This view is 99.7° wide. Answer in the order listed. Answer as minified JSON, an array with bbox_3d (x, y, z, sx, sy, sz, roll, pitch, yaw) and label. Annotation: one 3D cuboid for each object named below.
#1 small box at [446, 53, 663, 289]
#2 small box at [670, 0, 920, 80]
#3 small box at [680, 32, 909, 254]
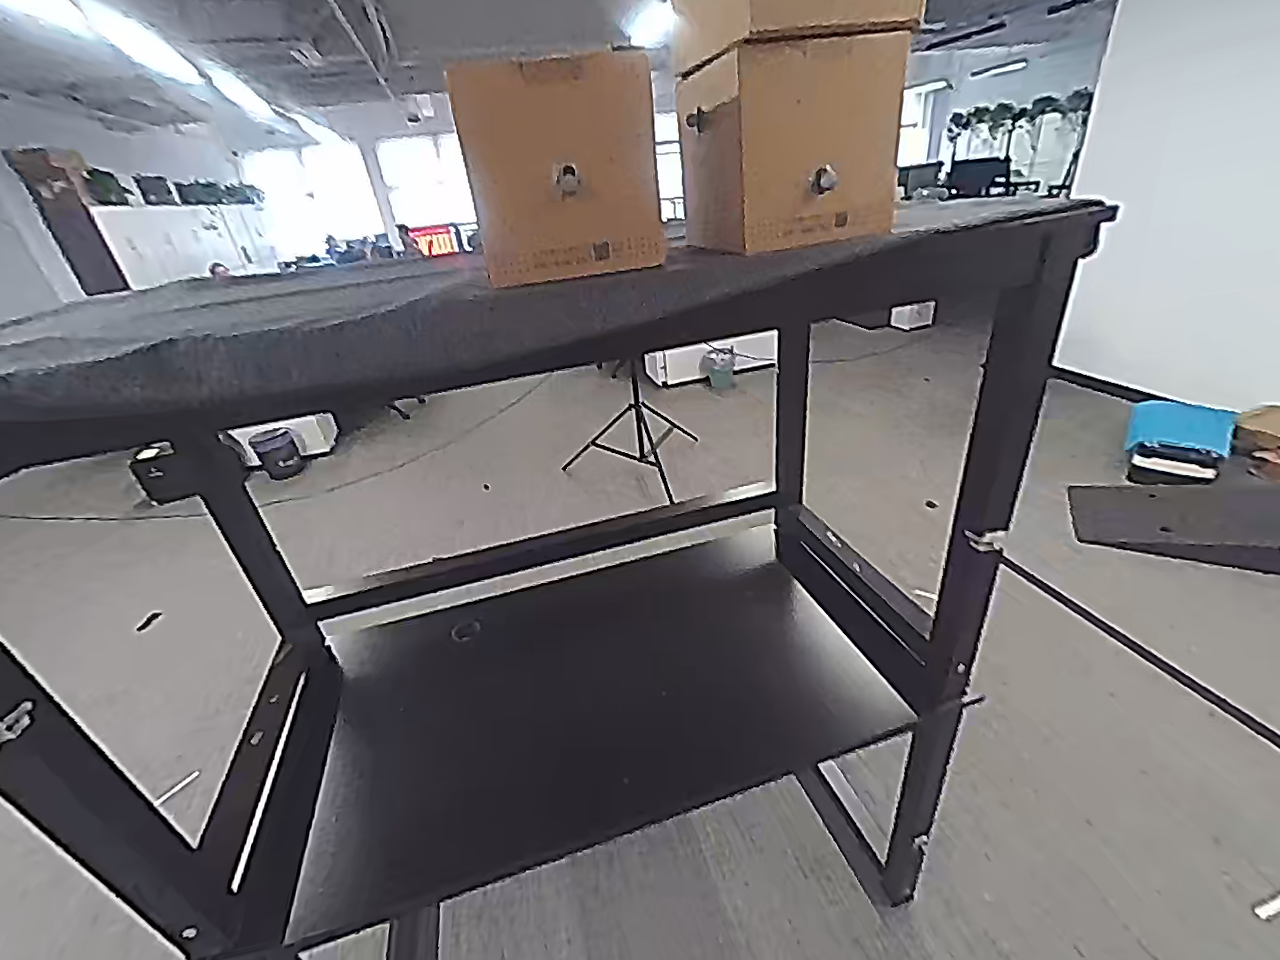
[{"bbox_3d":[-0.080,-0.291,0.534,0.168,0.176,0.179,-11,28,-9],"label":"small box"},{"bbox_3d":[0.134,-0.483,0.485,0.179,0.176,0.168,-14,28,-14],"label":"small box"},{"bbox_3d":[0.149,-0.341,0.574,0.168,0.176,0.179,-13,29,-10],"label":"small box"}]
